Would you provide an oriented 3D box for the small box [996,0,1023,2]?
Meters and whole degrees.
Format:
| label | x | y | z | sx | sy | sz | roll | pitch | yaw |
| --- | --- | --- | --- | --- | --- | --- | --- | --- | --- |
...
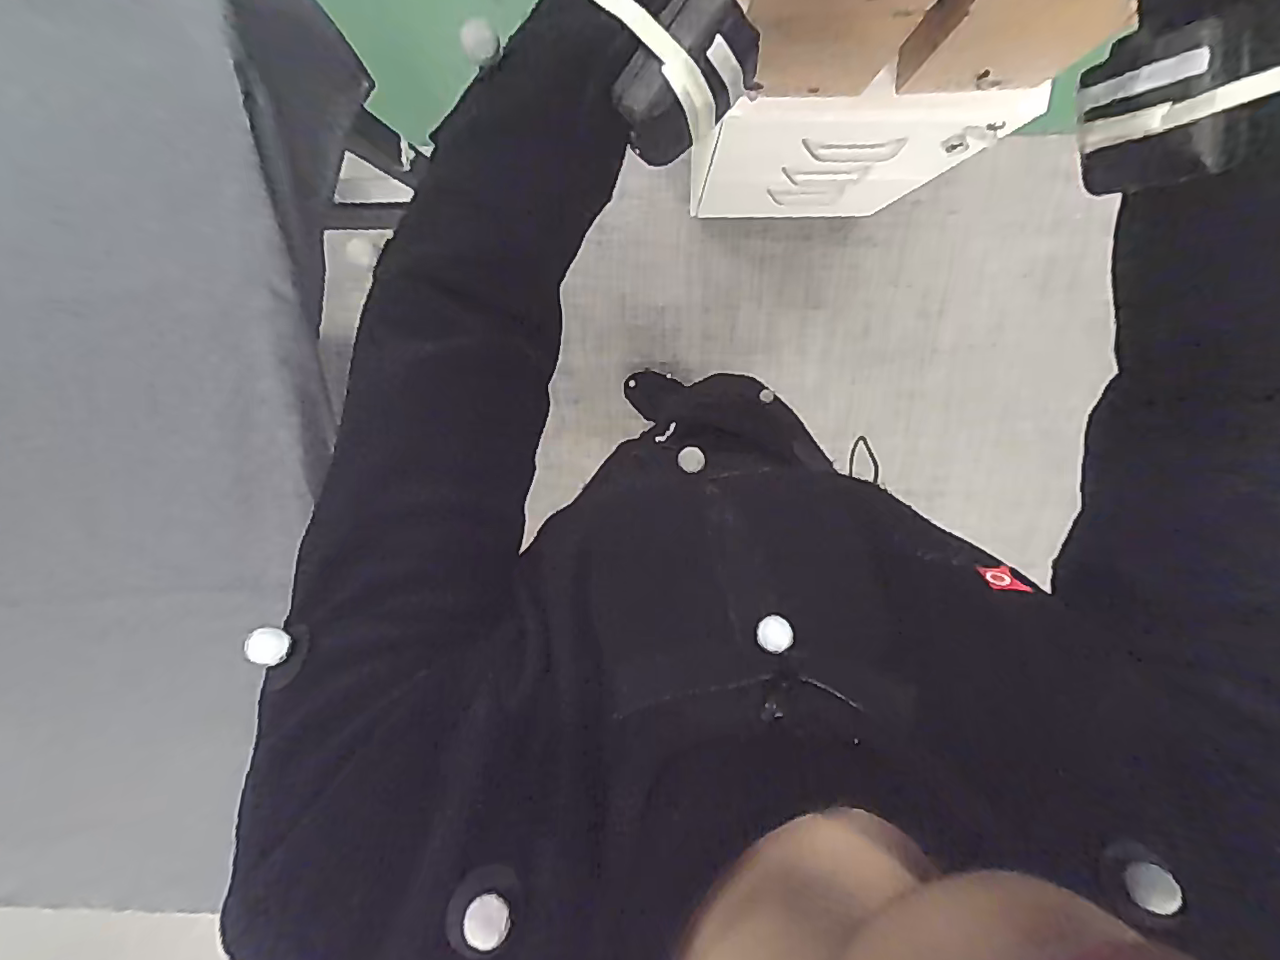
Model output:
| label | x | y | z | sx | sy | sz | roll | pitch | yaw |
| --- | --- | --- | --- | --- | --- | --- | --- | --- | --- |
| small box | 0.358 | -0.482 | 0.381 | 0.168 | 0.176 | 0.179 | -3 | 104 | 3 |
